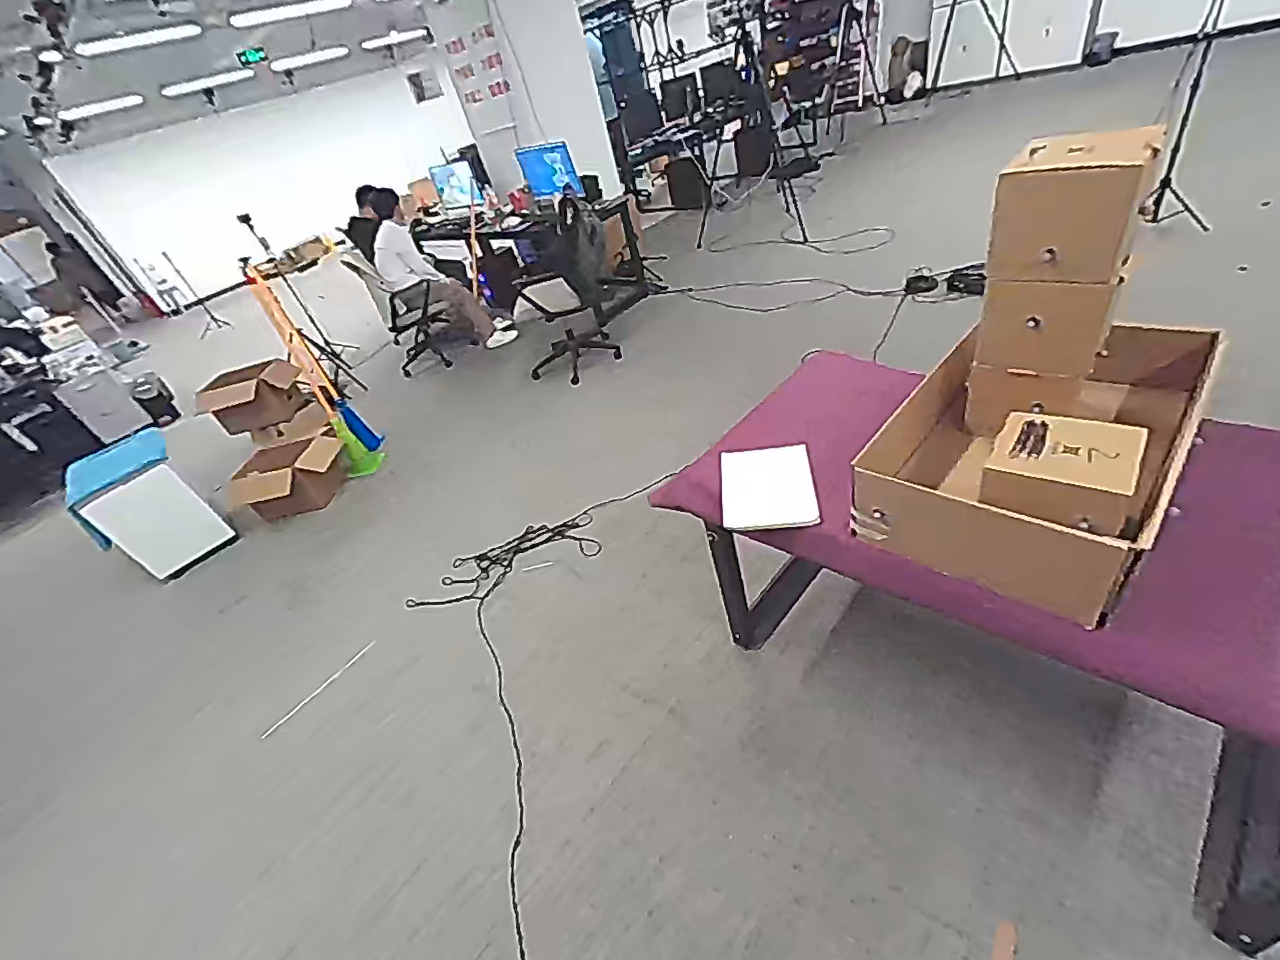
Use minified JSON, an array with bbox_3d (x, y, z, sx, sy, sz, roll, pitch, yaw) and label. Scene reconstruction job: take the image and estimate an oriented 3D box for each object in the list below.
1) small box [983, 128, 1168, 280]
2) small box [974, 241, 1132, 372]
[{"bbox_3d":[0.683,-0.436,0.865,0.179,0.176,0.168,23,54,39],"label":"small box"},{"bbox_3d":[0.724,-0.310,0.963,0.179,0.176,0.168,20,52,39],"label":"small box"}]
